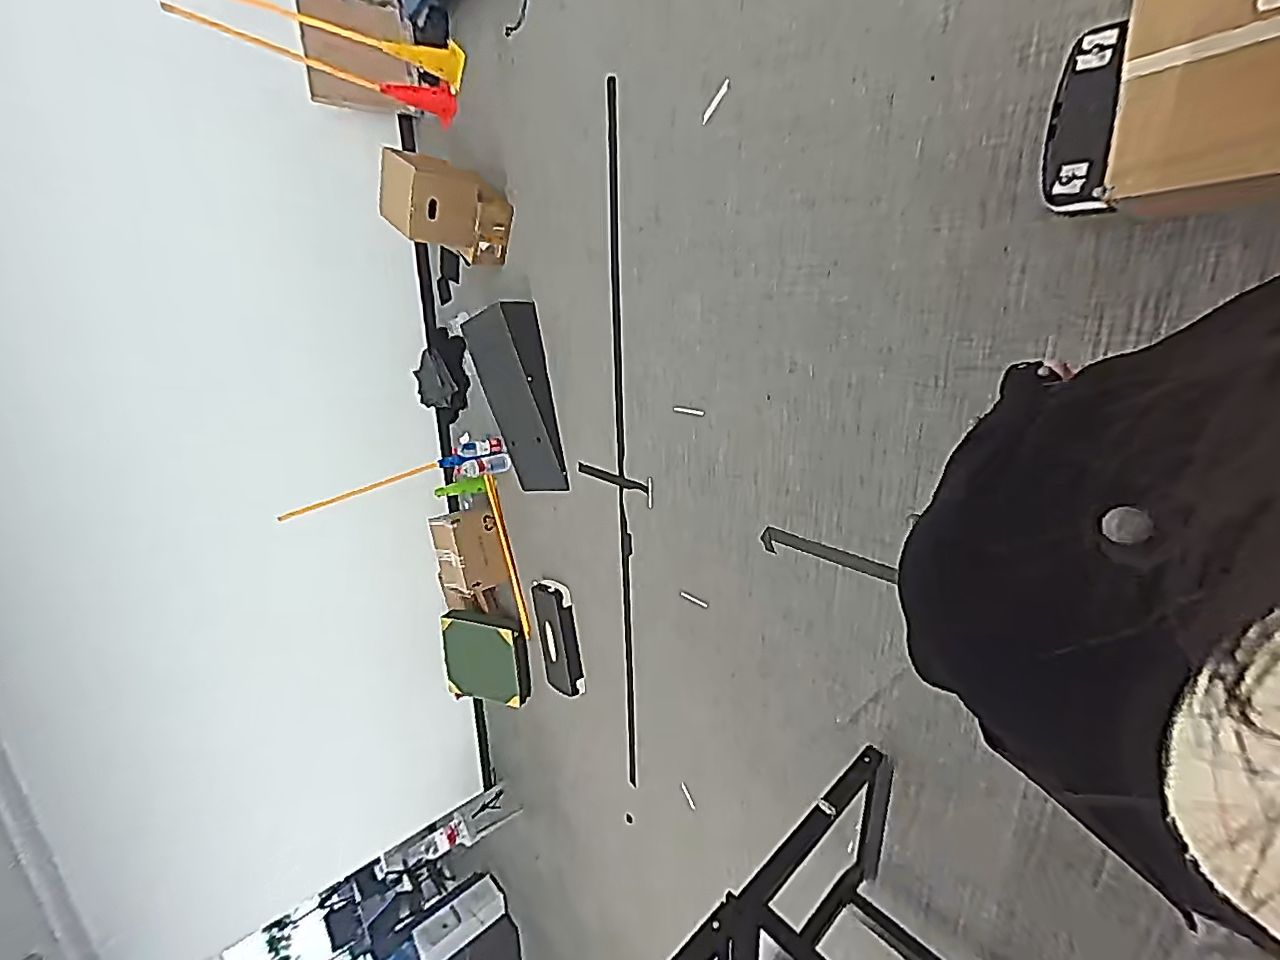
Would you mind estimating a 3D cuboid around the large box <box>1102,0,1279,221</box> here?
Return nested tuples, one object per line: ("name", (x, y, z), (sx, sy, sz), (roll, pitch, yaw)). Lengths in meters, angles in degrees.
("large box", (0.882, -0.531, 0.664), (0.408, 0.320, 0.320), (15, 112, 47))
